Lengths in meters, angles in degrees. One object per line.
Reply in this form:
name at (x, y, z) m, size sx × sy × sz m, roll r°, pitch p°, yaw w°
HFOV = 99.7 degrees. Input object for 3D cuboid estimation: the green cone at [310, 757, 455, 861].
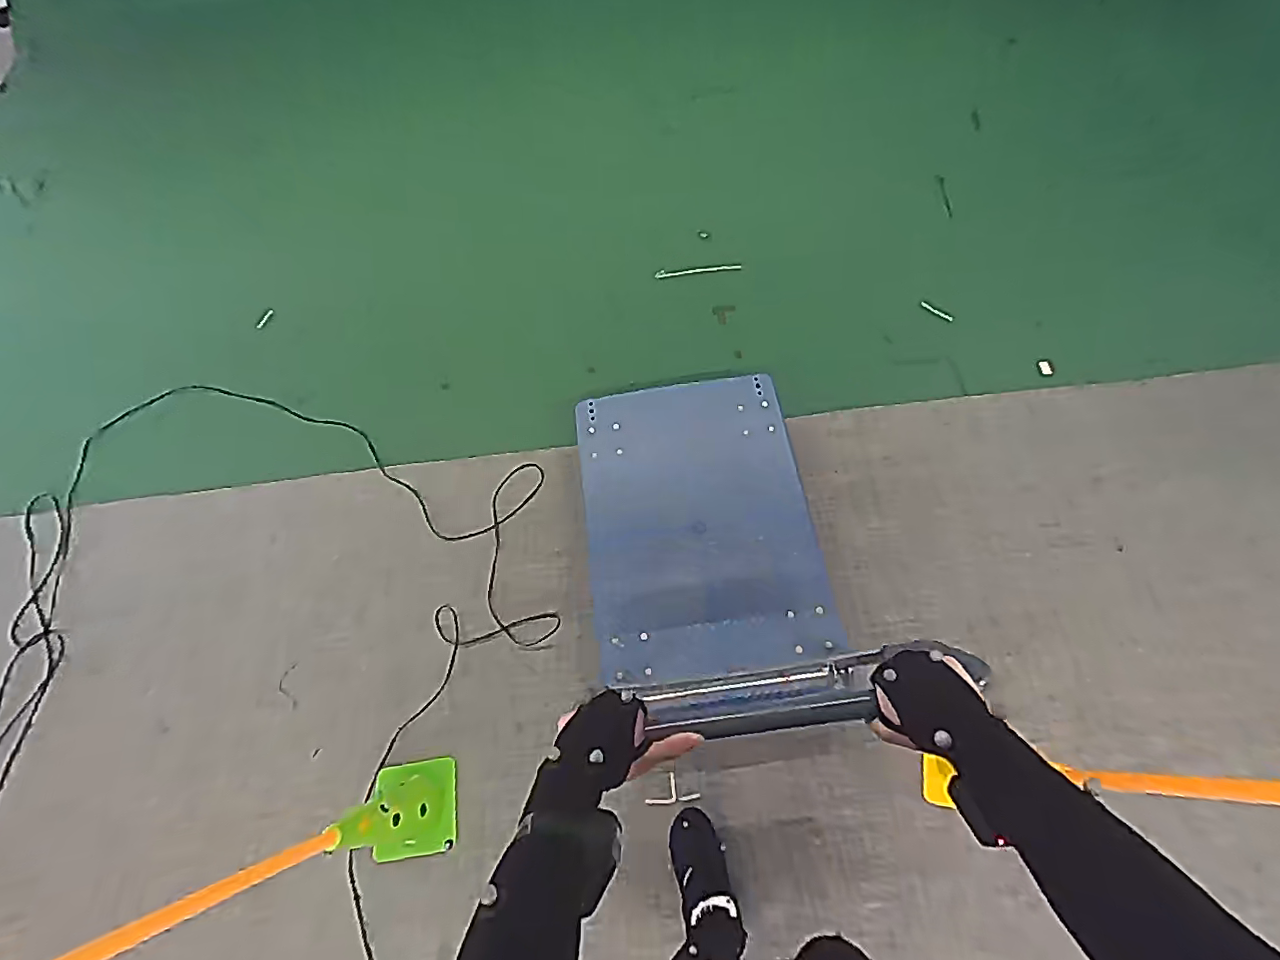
green cone at (-0.563, 0.721, 1.150) m, size 0.202 × 0.368 × 0.200 m, roll -11°, pitch 65°, yaw 1°
